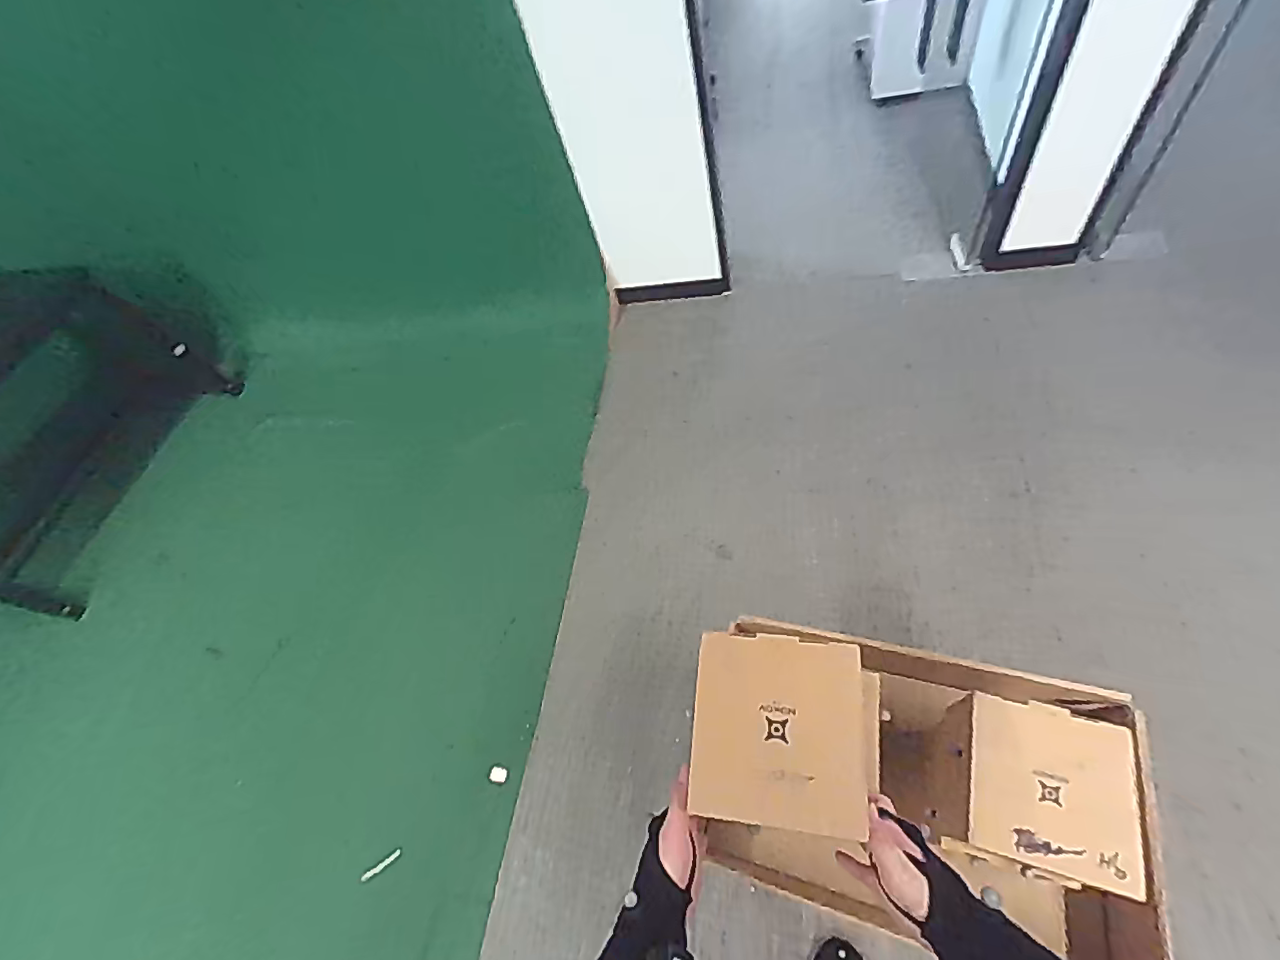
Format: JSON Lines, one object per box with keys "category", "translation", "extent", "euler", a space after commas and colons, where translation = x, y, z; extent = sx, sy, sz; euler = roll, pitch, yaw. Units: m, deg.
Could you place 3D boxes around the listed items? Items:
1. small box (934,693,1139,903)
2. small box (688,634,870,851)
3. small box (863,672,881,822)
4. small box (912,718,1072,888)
{"category": "small box", "translation": [0.495, 0.399, 0.701], "extent": [0.168, 0.176, 0.179], "euler": [10, 64, 20]}
{"category": "small box", "translation": [0.148, 0.285, 0.600], "extent": [0.168, 0.176, 0.179], "euler": [2, 63, 12]}
{"category": "small box", "translation": [0.245, 0.370, 0.781], "extent": [0.168, 0.176, 0.179], "euler": [5, 62, 18]}
{"category": "small box", "translation": [0.530, 0.486, 0.836], "extent": [0.168, 0.176, 0.179], "euler": [8, 65, 19]}
